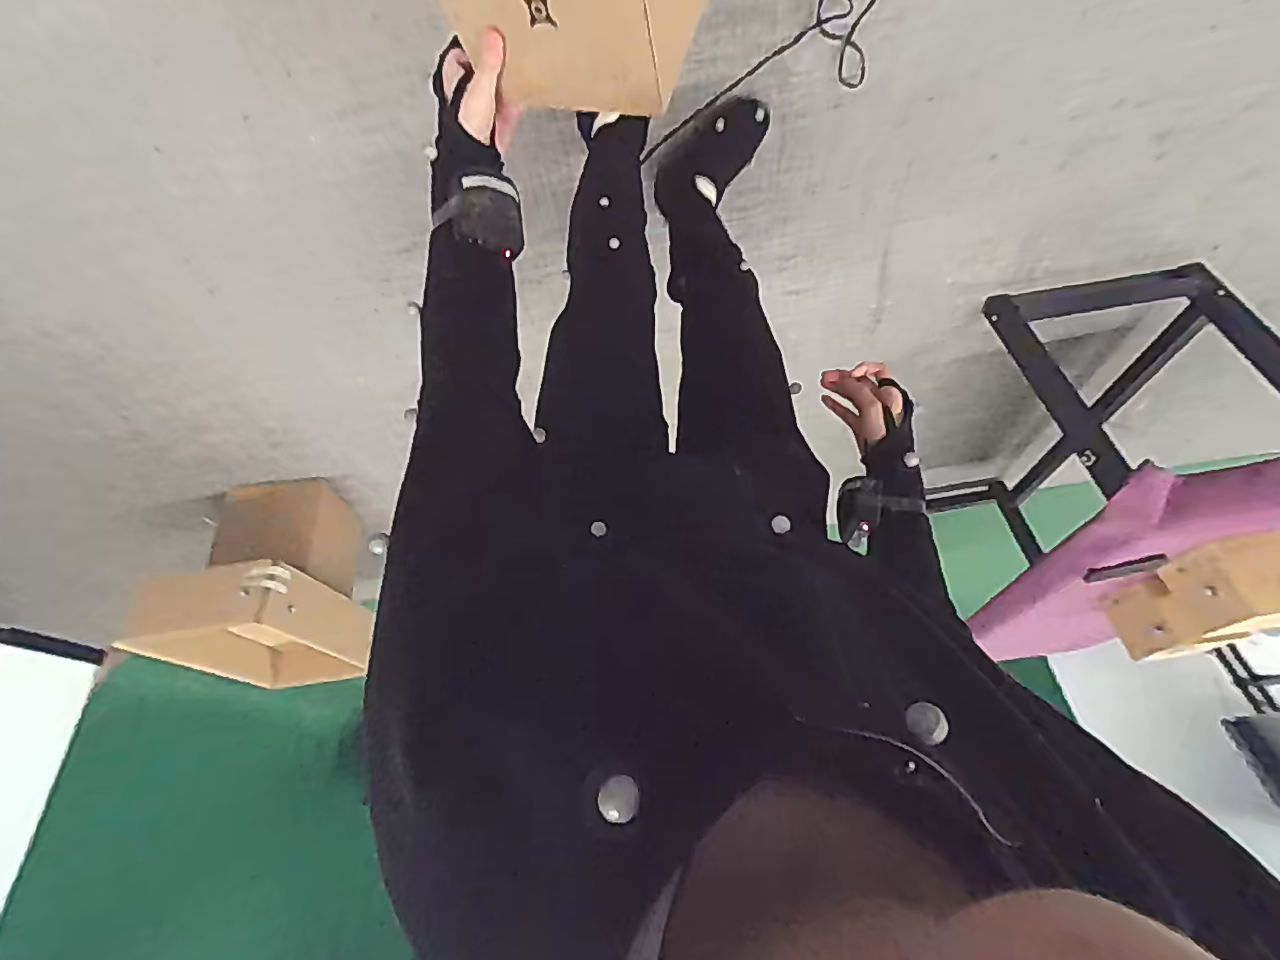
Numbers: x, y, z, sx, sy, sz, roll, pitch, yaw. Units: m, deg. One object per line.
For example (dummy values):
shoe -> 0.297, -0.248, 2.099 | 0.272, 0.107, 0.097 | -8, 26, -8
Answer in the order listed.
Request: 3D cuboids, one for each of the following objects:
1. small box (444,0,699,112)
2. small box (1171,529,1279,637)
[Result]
small box -> -0.044, -0.410, 0.381 | 0.168, 0.176, 0.179 | 14, 167, 13
small box -> 1.322, 0.219, 1.160 | 0.179, 0.176, 0.168 | -11, 147, 4
